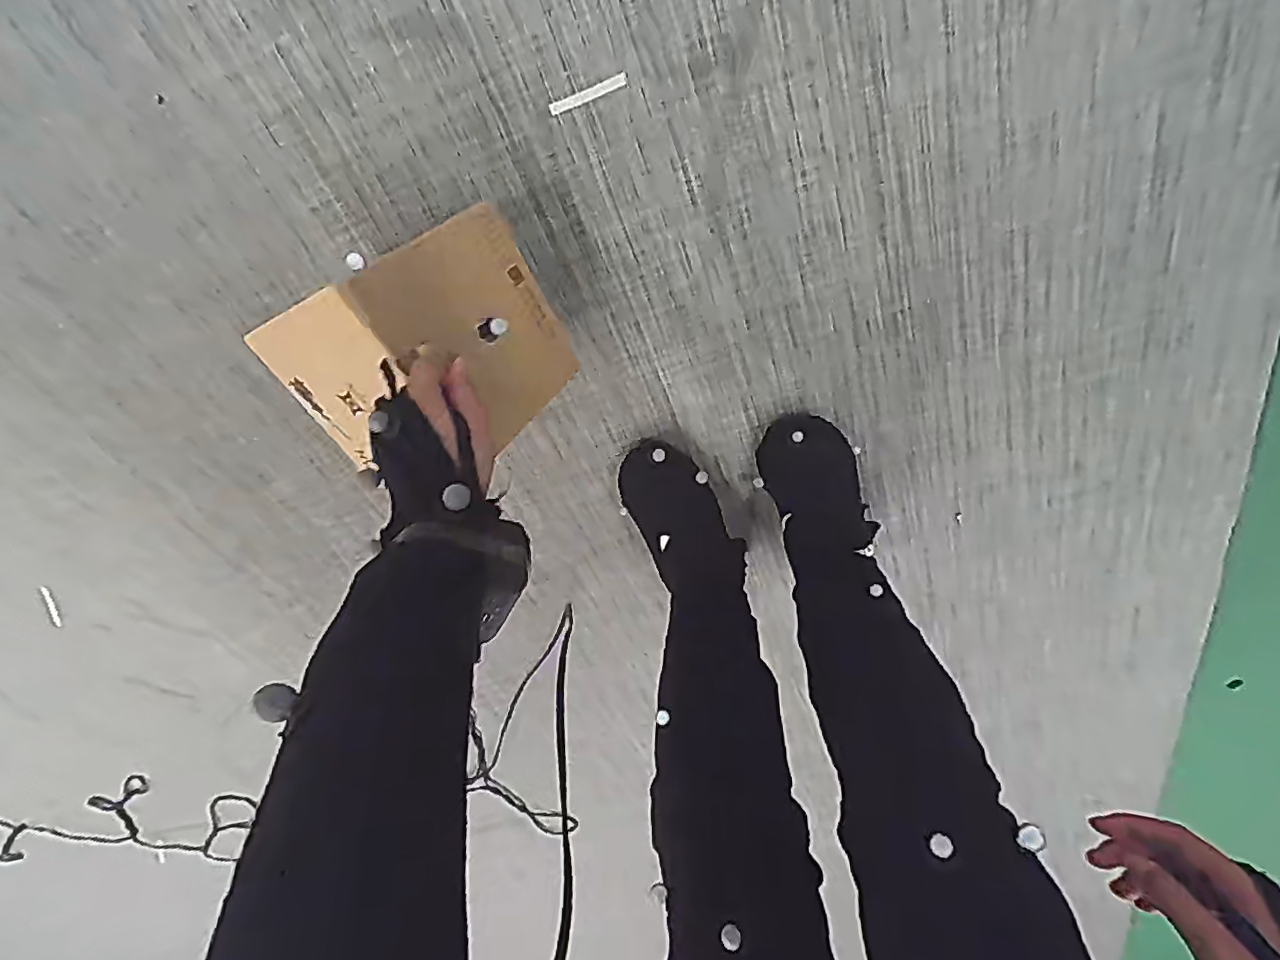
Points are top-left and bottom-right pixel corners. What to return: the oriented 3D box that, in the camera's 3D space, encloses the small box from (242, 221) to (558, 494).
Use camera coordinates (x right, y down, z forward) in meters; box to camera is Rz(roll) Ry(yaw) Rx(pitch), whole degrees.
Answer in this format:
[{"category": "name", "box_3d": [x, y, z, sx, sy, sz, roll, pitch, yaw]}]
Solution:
[{"category": "small box", "box_3d": [-0.199, -0.108, 0.496, 0.179, 0.176, 0.168, -6, 129, 34]}]
